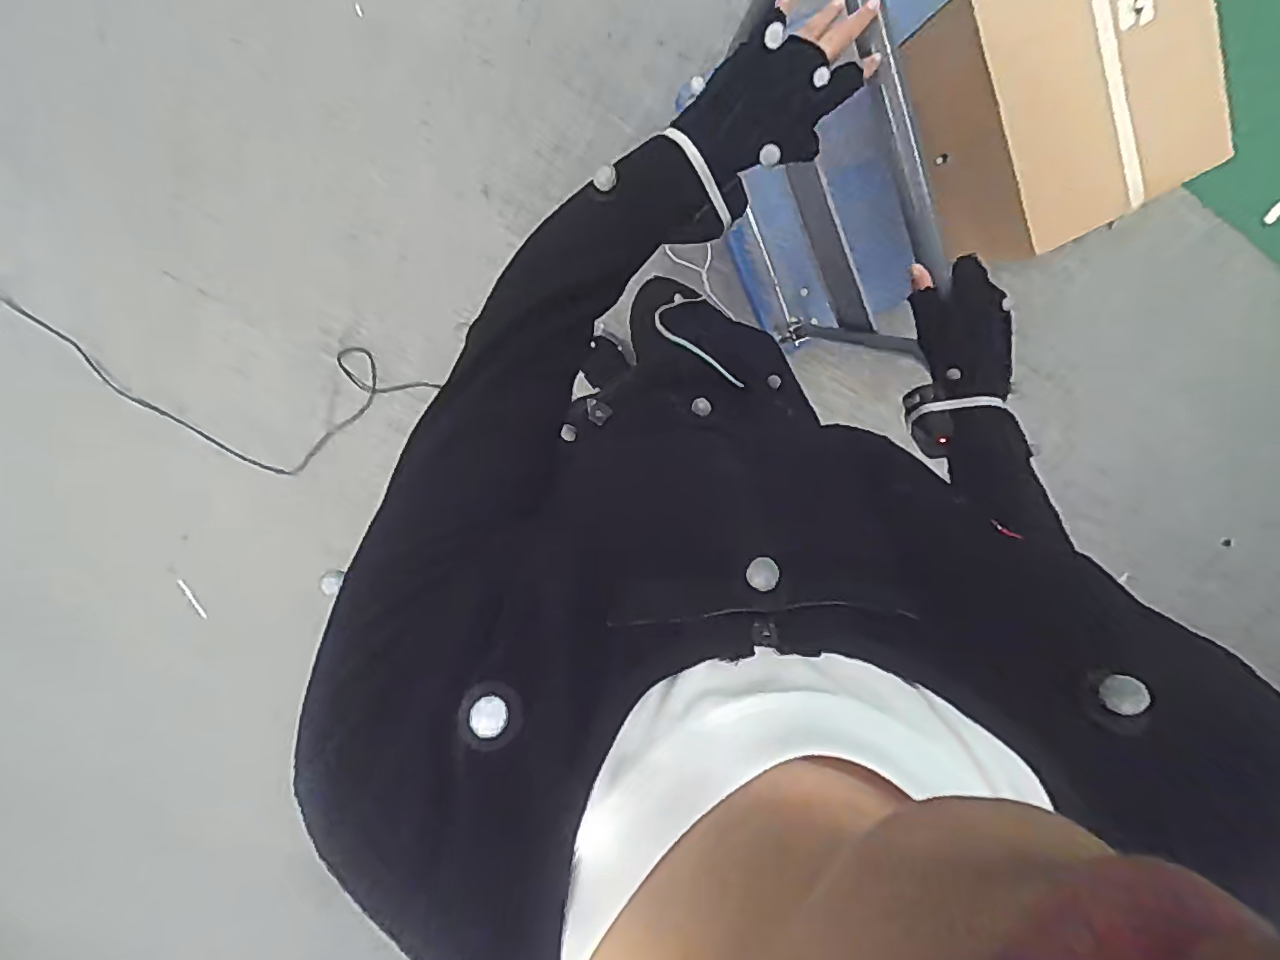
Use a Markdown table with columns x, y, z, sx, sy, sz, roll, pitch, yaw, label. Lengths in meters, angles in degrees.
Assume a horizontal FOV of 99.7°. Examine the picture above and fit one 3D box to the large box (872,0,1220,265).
| x | y | z | sx | sy | sz | roll | pitch | yaw | label |
| --- | --- | --- | --- | --- | --- | --- | --- | --- | --- |
| 0.670 | -0.643 | 0.943 | 0.320 | 0.320 | 0.408 | -26 | 107 | 8 | large box |
